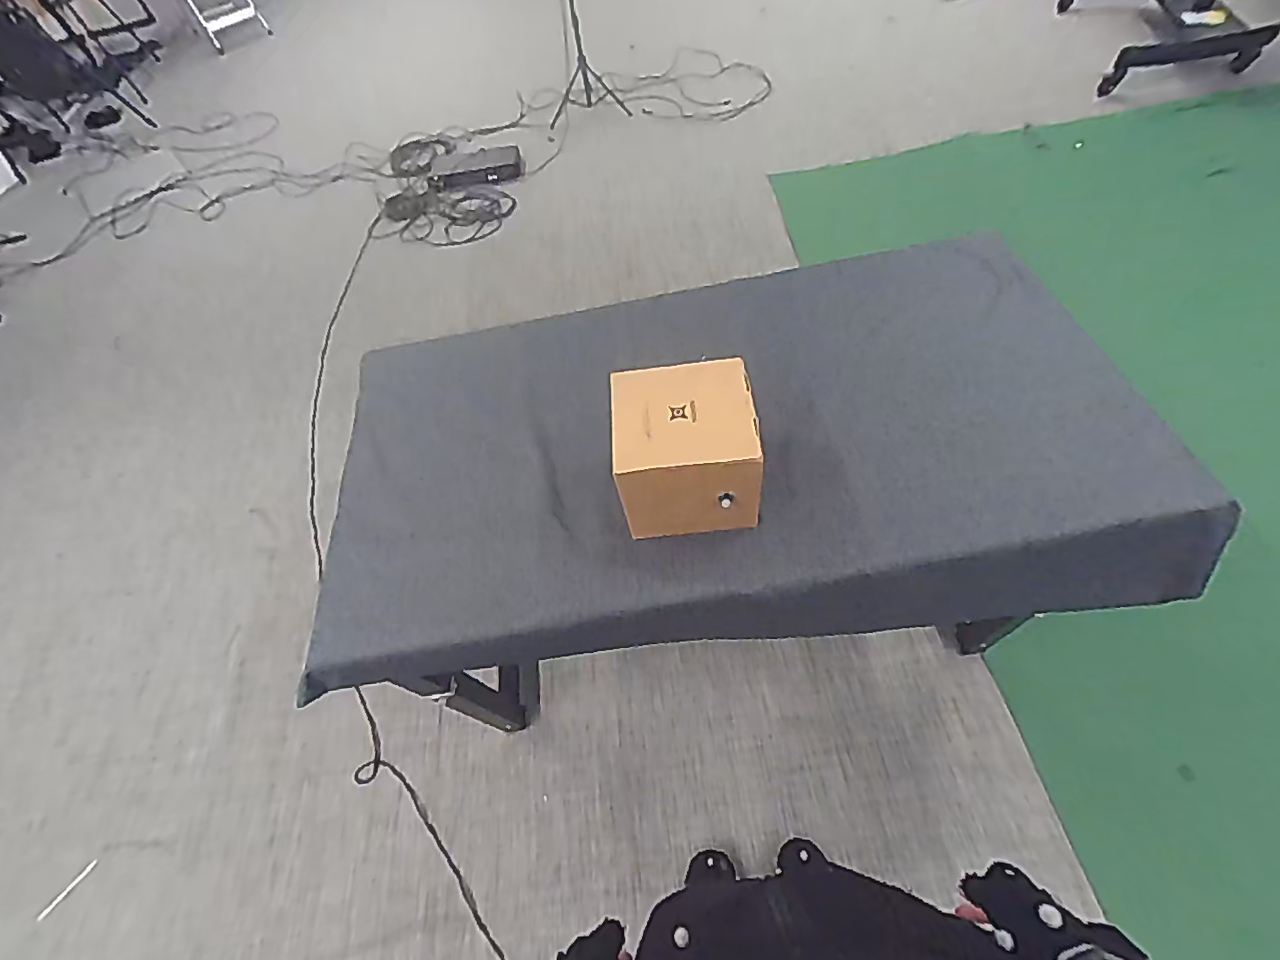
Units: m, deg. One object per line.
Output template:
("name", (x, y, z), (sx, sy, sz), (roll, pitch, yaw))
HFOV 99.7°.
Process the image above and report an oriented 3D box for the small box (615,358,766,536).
("small box", (0.066, -0.039, 0.735), (0.179, 0.176, 0.168), (-7, 55, 5))
